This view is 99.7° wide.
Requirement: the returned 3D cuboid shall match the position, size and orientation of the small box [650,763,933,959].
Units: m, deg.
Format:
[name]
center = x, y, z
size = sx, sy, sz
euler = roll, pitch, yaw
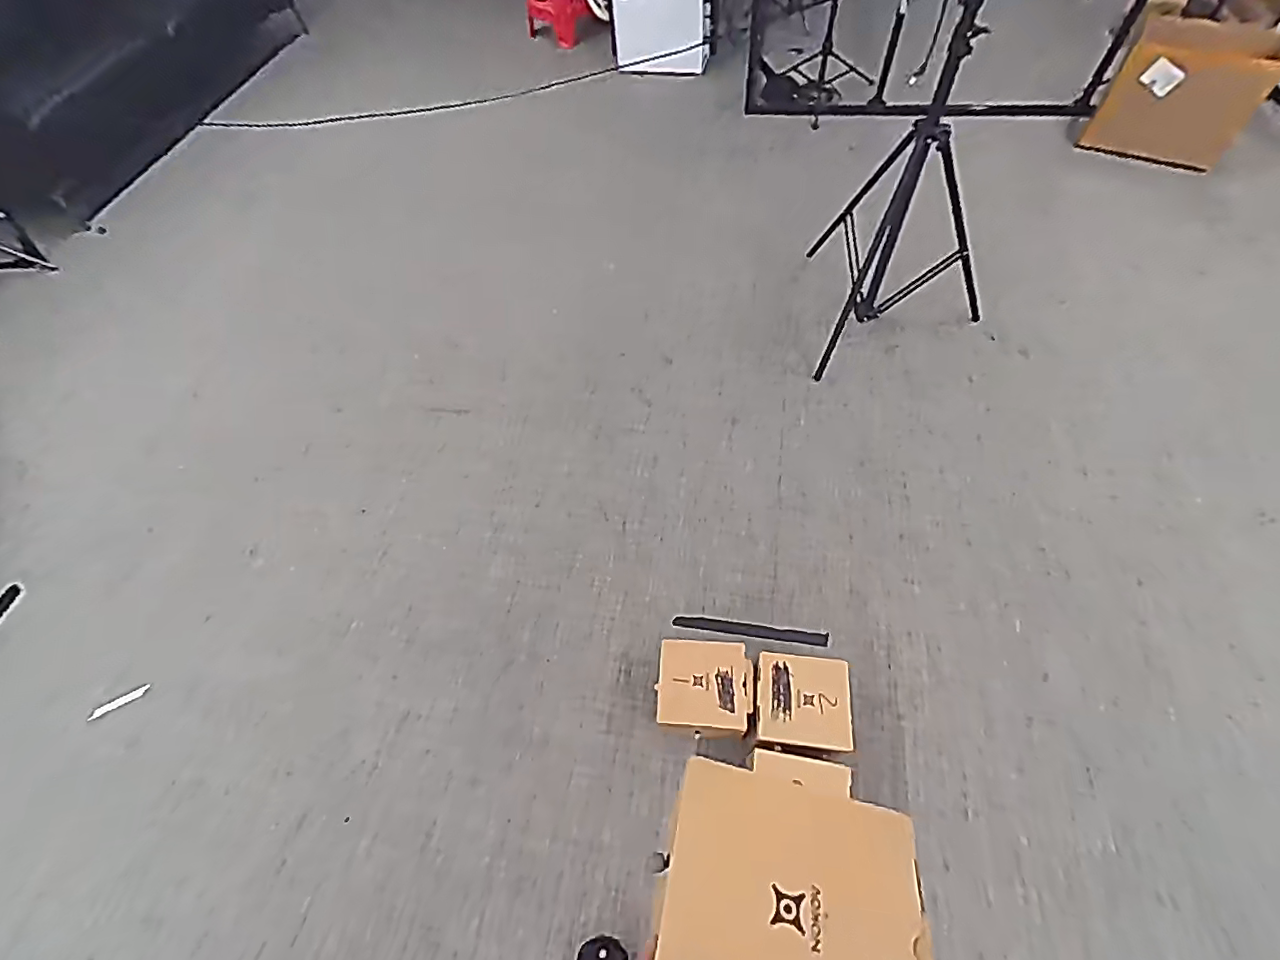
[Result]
[small box]
center = 0.101, 0.353, 0.412
size = 0.179, 0.176, 0.168
euler = 12, 42, 8
